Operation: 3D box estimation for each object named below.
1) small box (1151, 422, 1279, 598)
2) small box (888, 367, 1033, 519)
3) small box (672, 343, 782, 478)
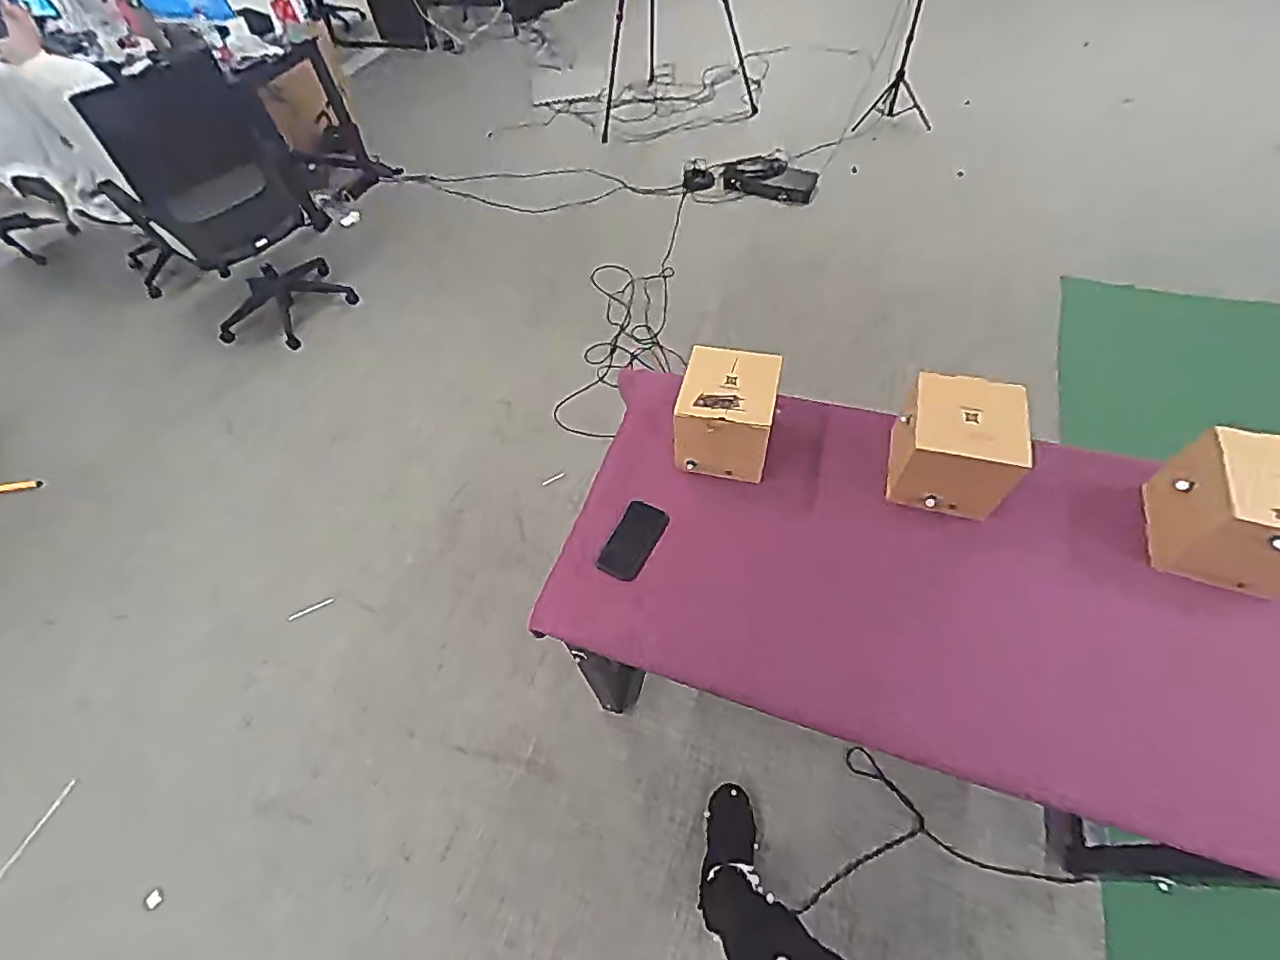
[{"bbox_3d":[0.915,0.046,0.806,0.168,0.176,0.179,15,58,17],"label":"small box"},{"bbox_3d":[0.536,-0.062,0.923,0.168,0.176,0.179,12,58,15],"label":"small box"},{"bbox_3d":[0.161,-0.126,1.004,0.168,0.176,0.179,10,56,12],"label":"small box"}]
